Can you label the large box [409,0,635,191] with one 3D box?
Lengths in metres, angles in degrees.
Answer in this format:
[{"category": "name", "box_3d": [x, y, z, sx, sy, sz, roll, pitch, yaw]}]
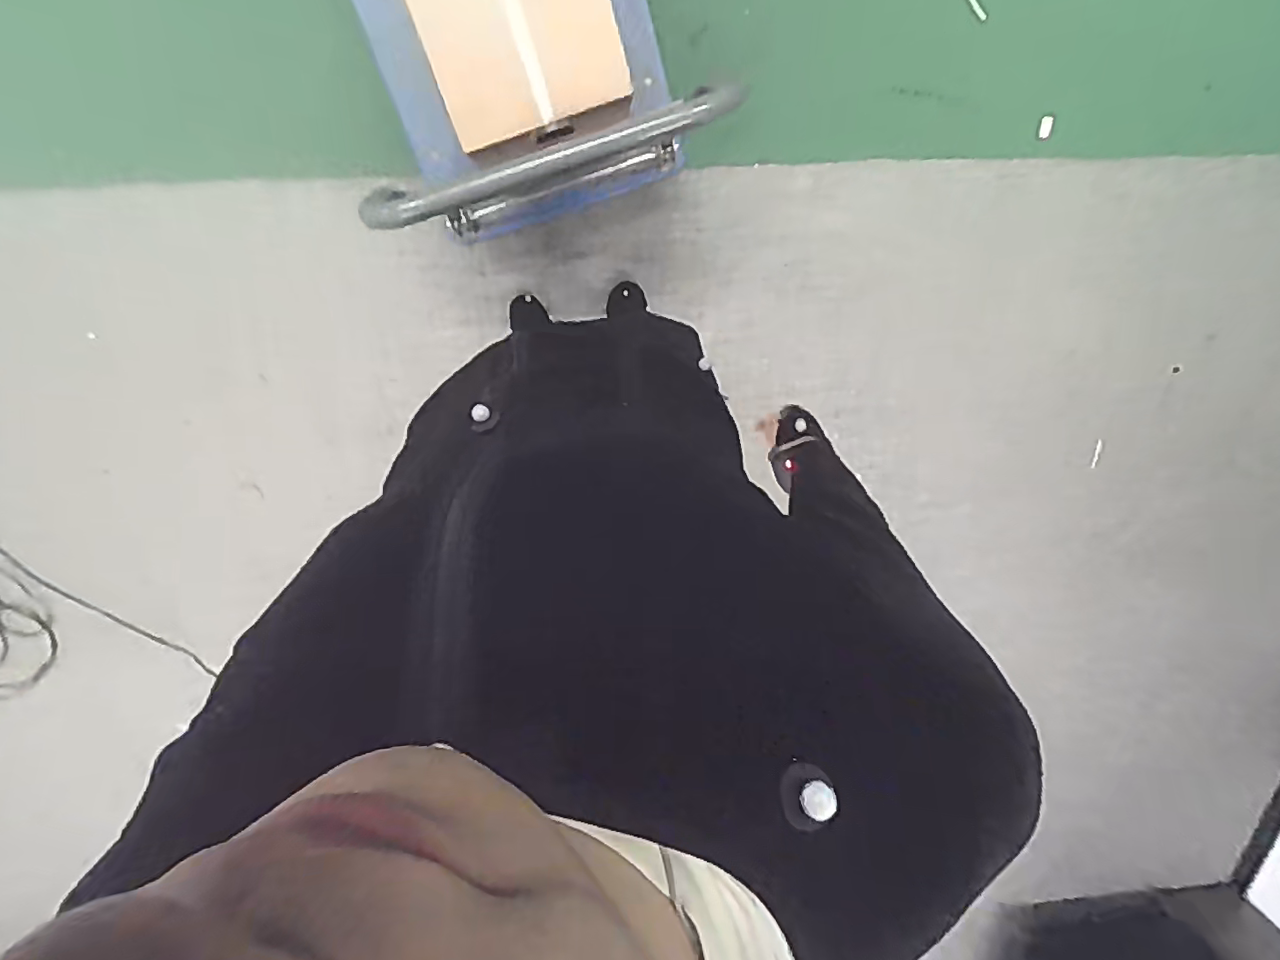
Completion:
[{"category": "large box", "box_3d": [-0.219, -0.829, 1.018, 0.320, 0.320, 0.408, -18, 110, 2]}]
